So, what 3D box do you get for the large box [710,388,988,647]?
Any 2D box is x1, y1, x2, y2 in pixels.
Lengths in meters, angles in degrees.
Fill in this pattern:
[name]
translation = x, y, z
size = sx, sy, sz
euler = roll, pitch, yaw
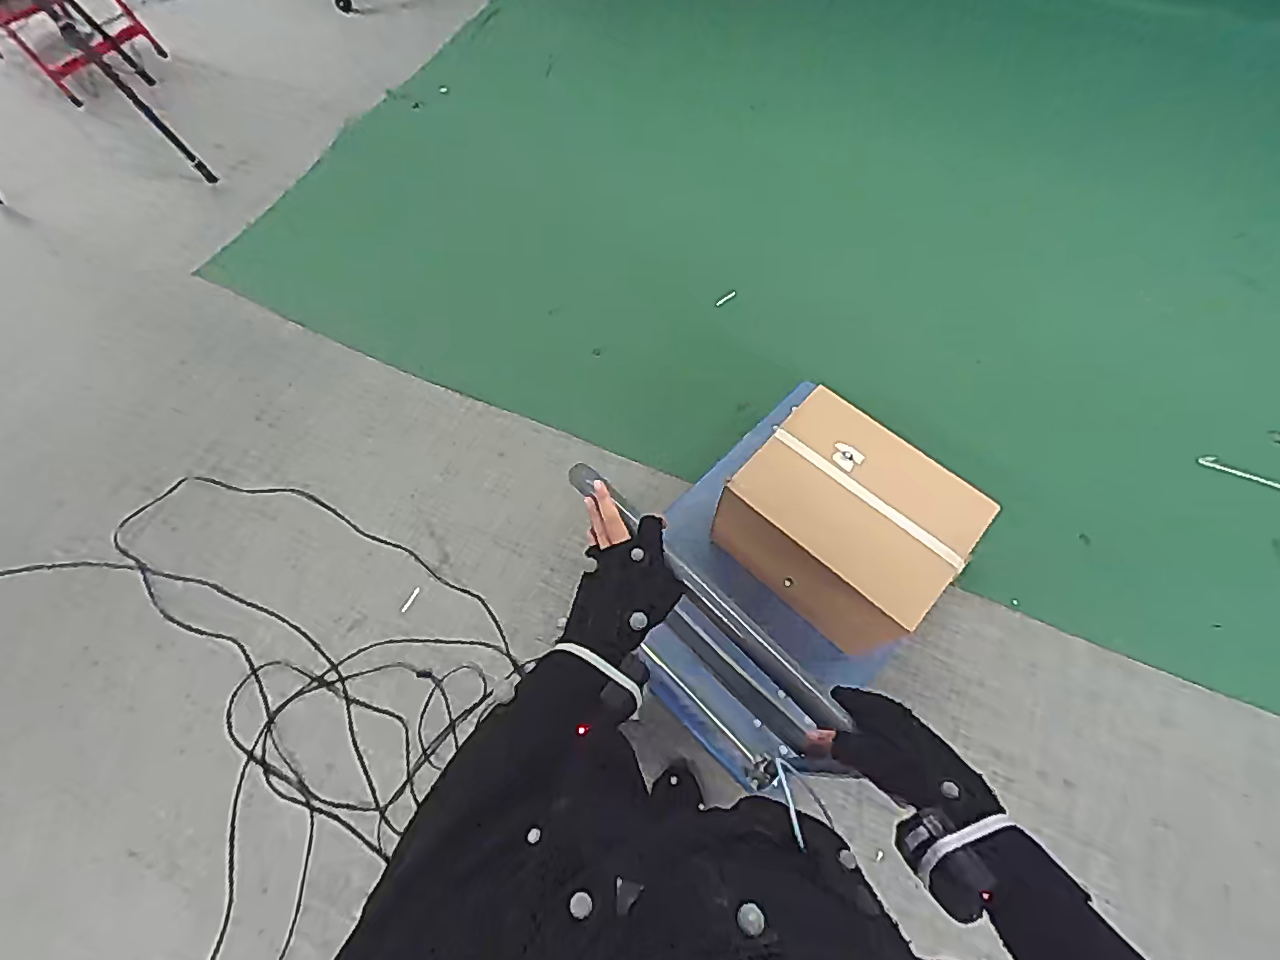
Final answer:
[large box]
translation = 0.407, 0.091, 1.152
size = 0.408, 0.320, 0.320
euler = 40, 71, 18
